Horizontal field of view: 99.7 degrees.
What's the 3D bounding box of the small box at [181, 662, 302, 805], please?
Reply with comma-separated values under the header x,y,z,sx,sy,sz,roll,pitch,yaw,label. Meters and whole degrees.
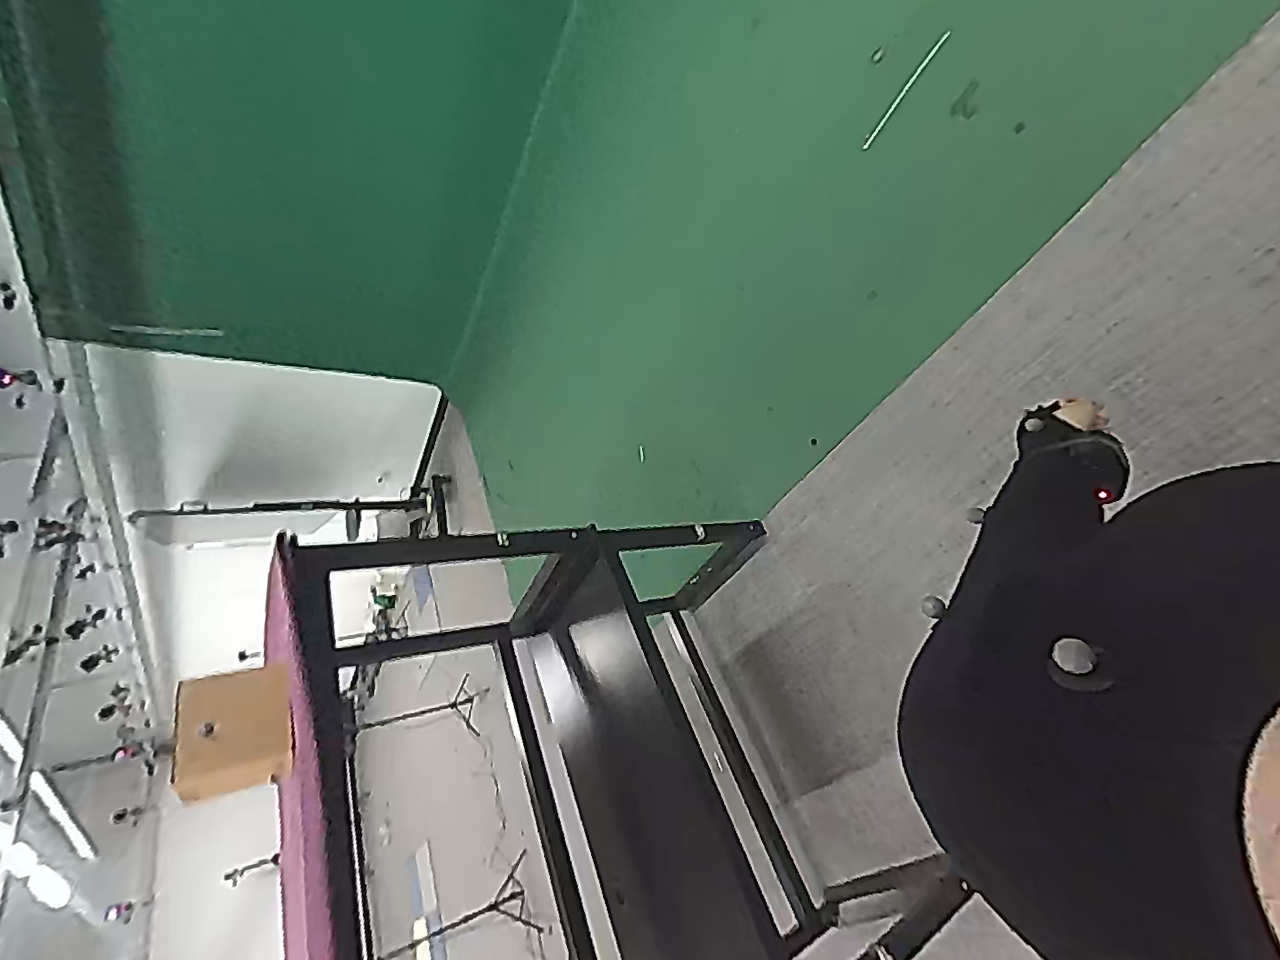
x,y,z,sx,sy,sz,roll,pitch,yaw,label
-0.736,0.467,1.011,0.168,0.176,0.179,-55,49,41,small box
